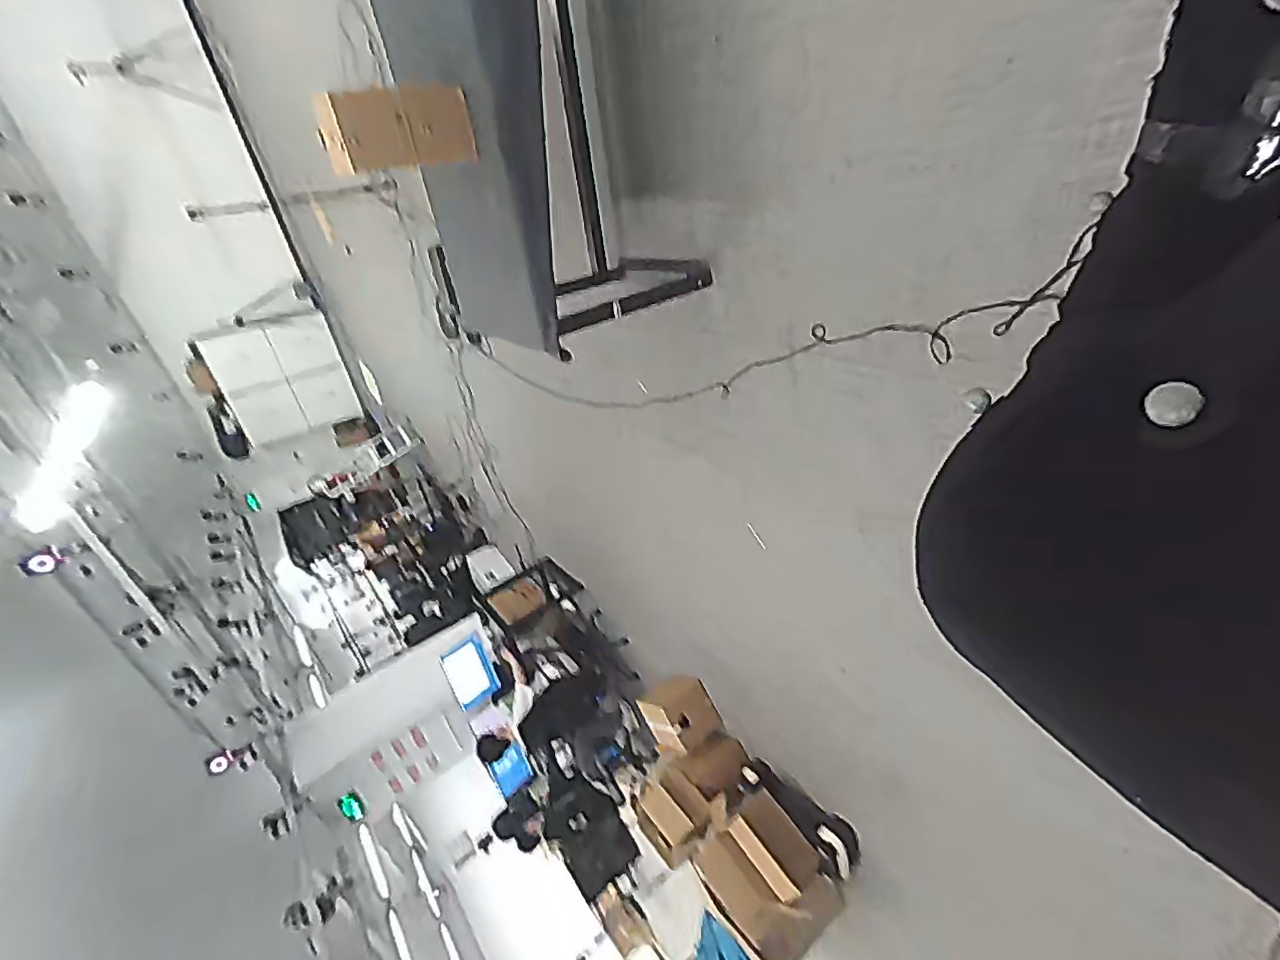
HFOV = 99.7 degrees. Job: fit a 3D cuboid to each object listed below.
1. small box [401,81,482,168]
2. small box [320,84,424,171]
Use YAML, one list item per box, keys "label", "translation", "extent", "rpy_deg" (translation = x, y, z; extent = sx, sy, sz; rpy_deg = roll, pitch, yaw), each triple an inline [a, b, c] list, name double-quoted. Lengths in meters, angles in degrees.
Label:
- label: "small box"
  translation: [-0.539, -0.937, 1.430]
  extent: [0.168, 0.176, 0.179]
  rpy_deg: [29, 136, 44]
- label: "small box"
  translation: [-0.666, -0.875, 1.351]
  extent: [0.179, 0.176, 0.168]
  rpy_deg: [27, 134, 45]
